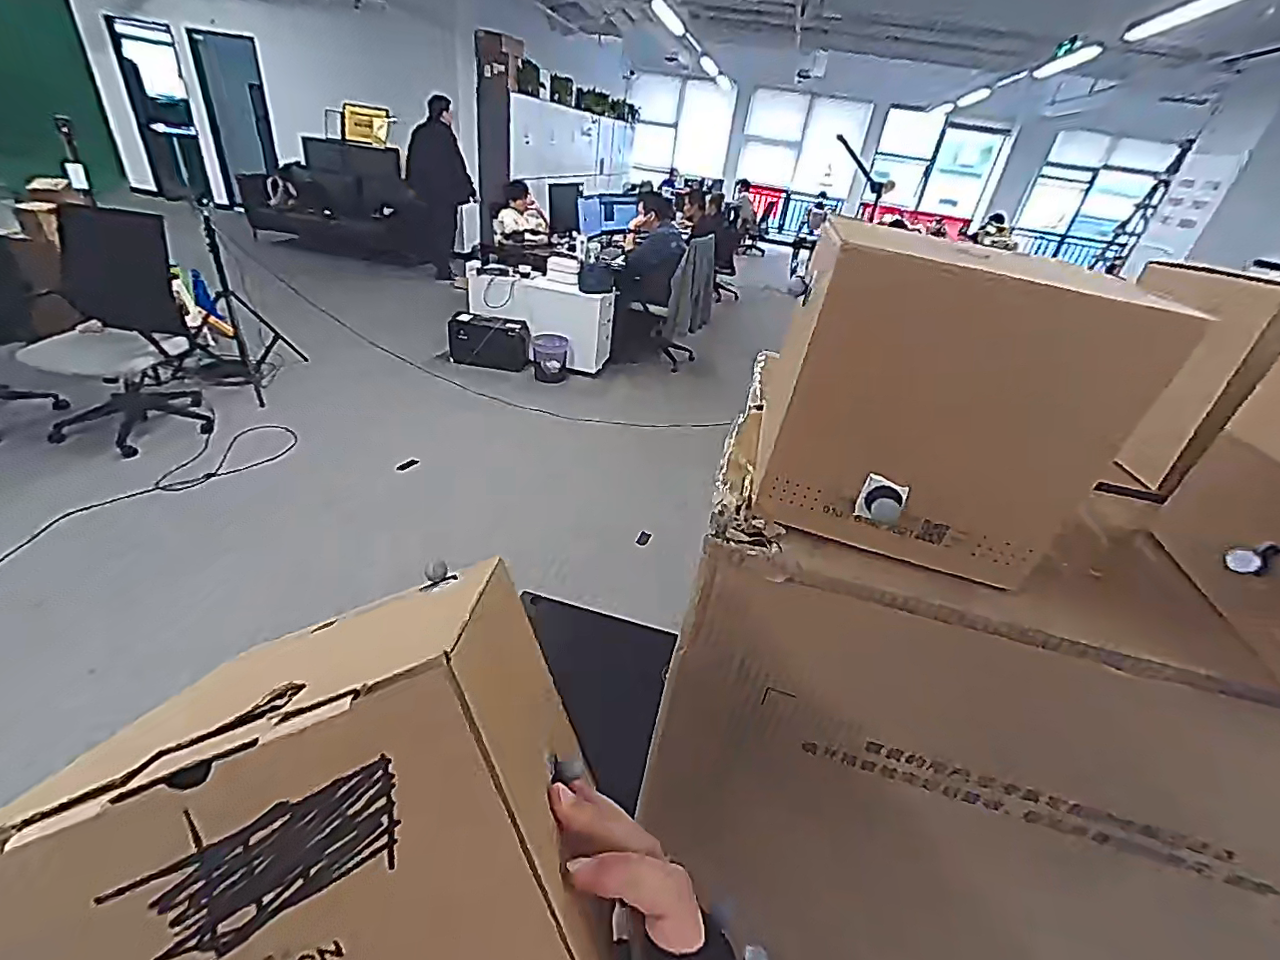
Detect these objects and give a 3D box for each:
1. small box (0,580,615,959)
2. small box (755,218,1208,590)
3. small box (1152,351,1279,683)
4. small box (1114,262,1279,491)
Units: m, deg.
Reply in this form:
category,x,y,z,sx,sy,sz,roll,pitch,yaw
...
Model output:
category,x,y,z,sx,sy,sz,roll,pitch,yaw
small box,-0.121,0.160,0.259,0.168,0.179,0.176,-20,6,-8
small box,0.180,-0.061,0.360,0.168,0.176,0.179,15,33,7
small box,0.440,0.031,0.279,0.168,0.176,0.179,13,34,9
small box,0.529,-0.081,0.470,0.168,0.176,0.179,12,29,9
